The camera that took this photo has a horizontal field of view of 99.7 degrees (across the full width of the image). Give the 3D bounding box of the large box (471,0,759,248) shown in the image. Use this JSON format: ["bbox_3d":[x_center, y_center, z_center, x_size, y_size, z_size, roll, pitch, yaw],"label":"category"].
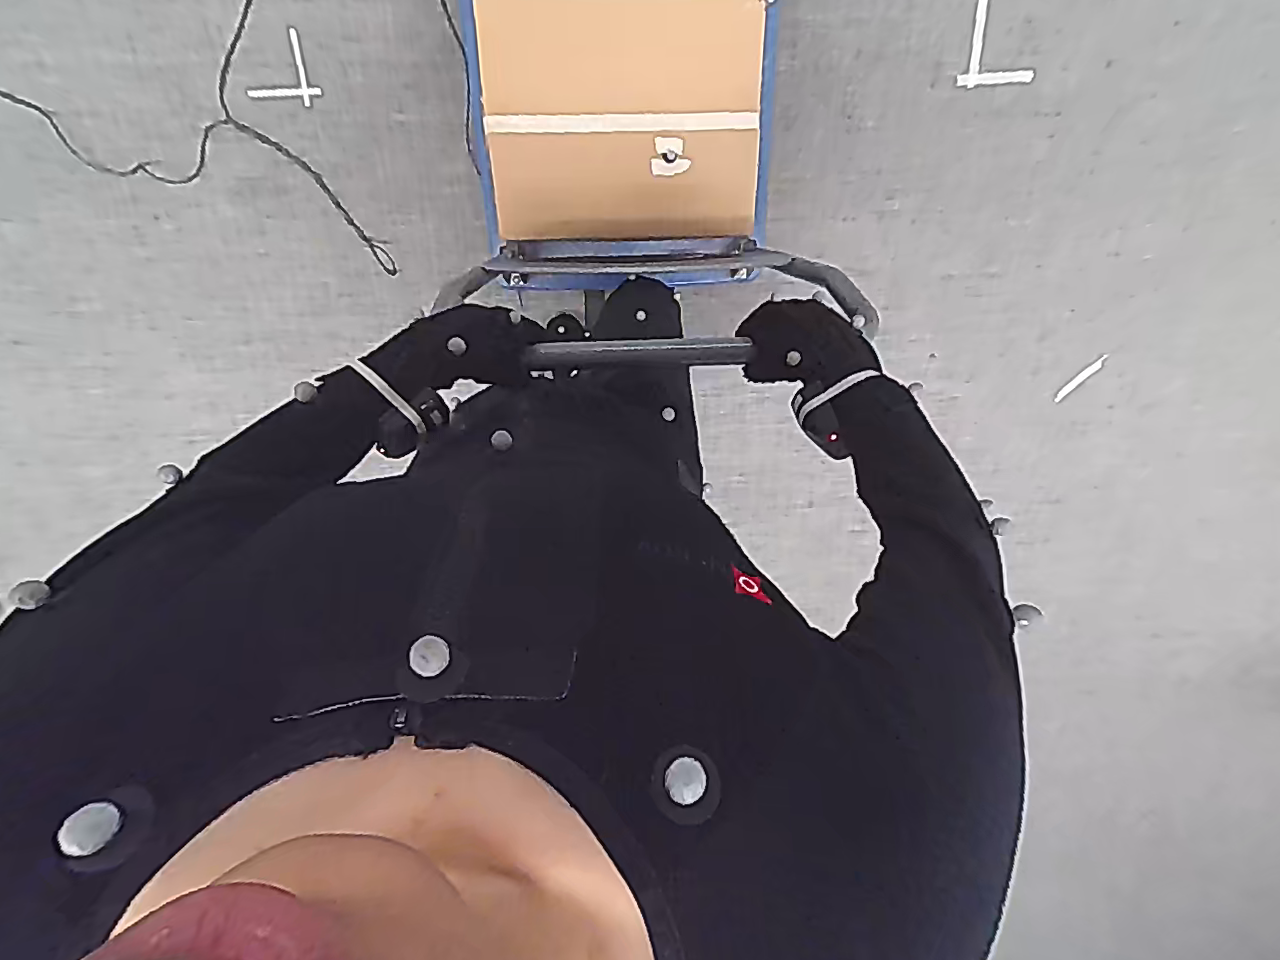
[{"bbox_3d":[-0.039,-0.577,0.933,0.408,0.320,0.320,-3,114,-3],"label":"large box"}]
